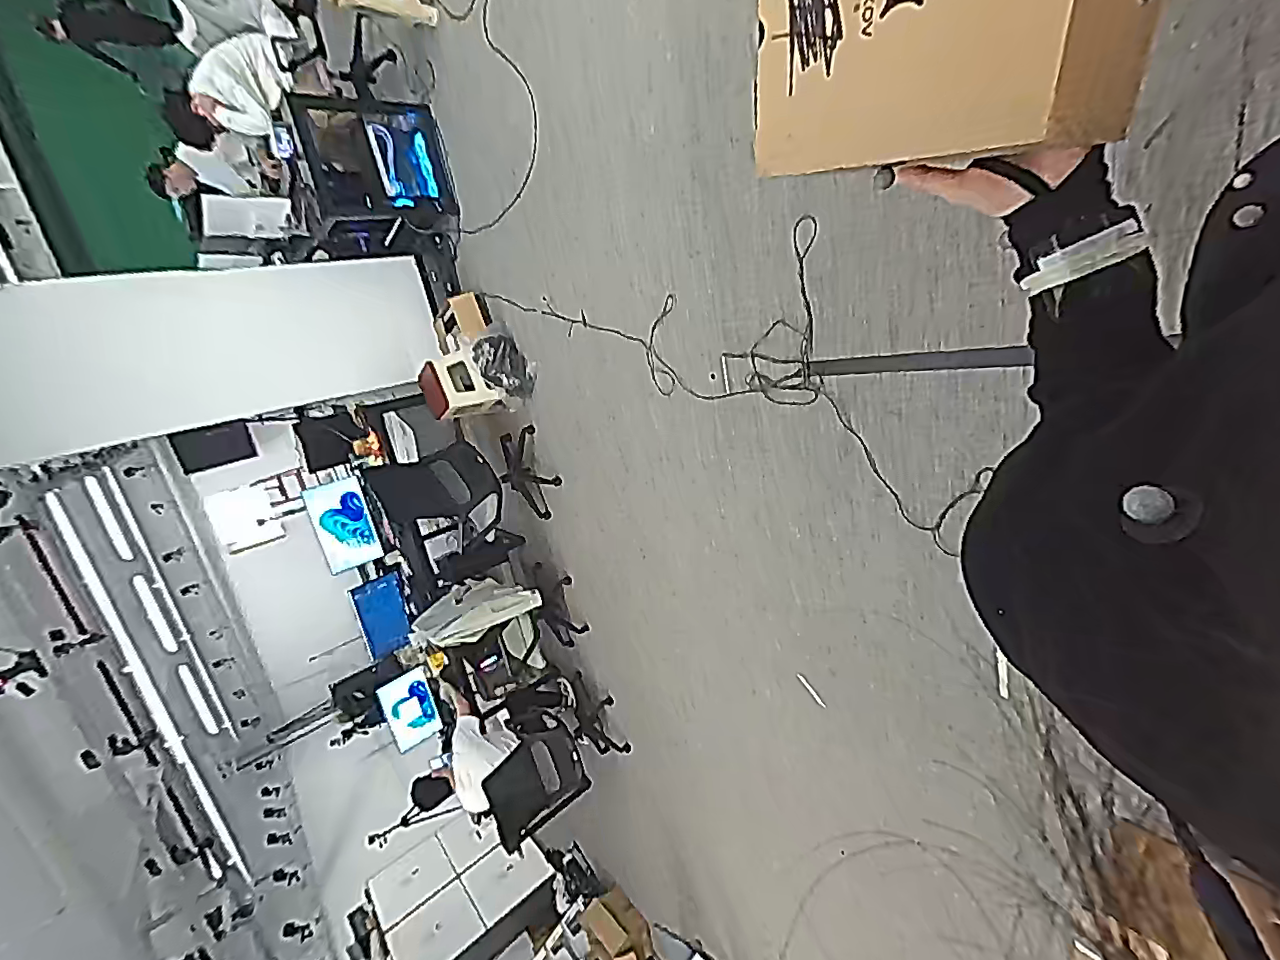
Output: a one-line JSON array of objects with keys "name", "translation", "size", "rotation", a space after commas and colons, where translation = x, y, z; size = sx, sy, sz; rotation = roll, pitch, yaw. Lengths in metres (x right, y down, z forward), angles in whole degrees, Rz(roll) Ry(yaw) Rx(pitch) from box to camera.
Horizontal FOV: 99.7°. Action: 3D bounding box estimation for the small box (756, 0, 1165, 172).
[{"name": "small box", "translation": [0.191, -0.289, 0.328], "size": [0.179, 0.176, 0.168], "rotation": [22, 129, 44]}]
